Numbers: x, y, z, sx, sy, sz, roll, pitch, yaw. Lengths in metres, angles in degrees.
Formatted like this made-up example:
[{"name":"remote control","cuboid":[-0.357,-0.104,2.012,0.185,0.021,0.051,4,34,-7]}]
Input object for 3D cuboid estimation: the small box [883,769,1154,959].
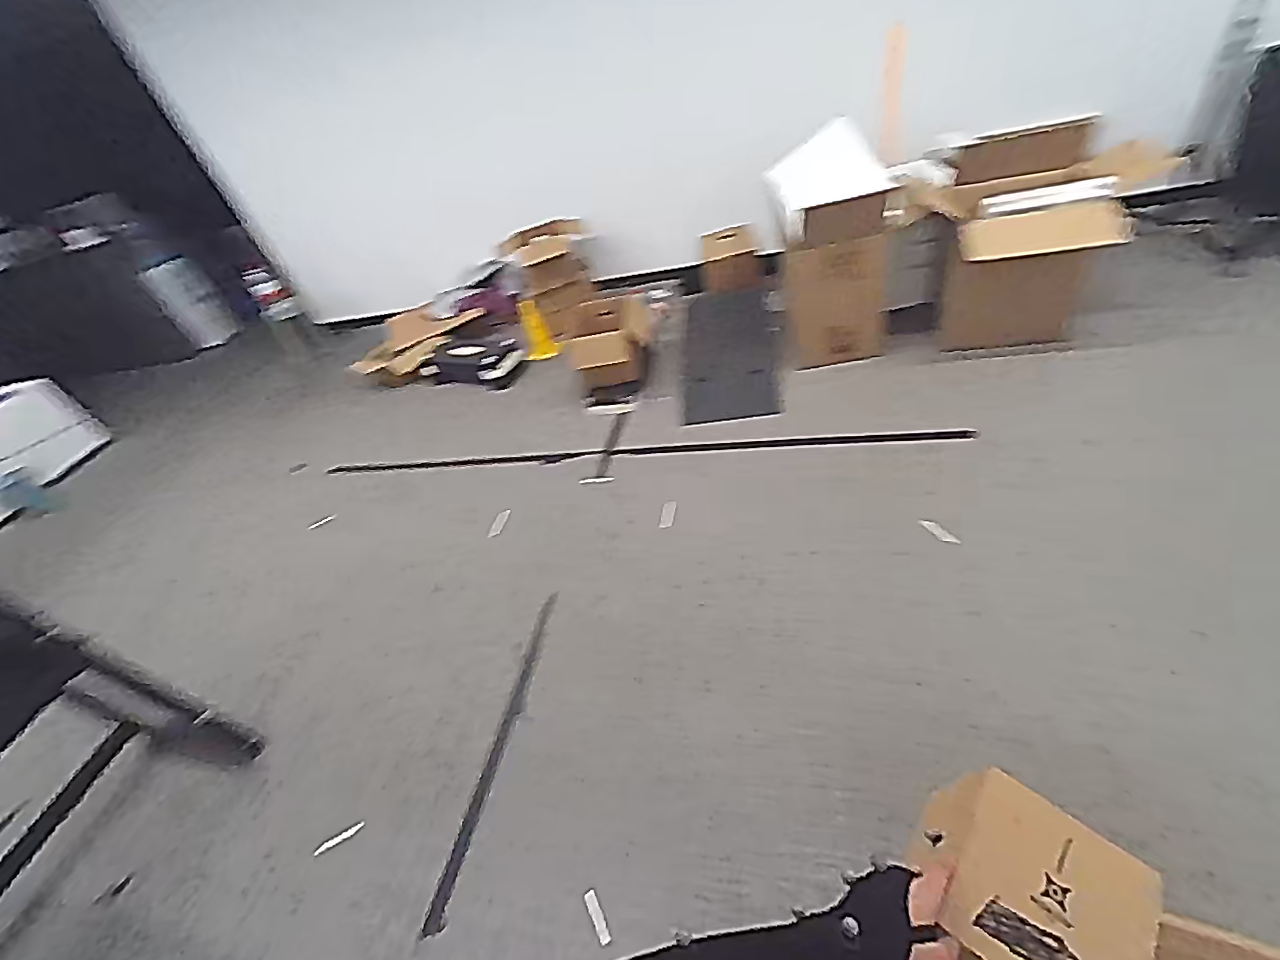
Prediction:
[{"name":"small box","cuboid":[0.384,0.455,0.575,0.168,0.176,0.179,30,56,23]}]
